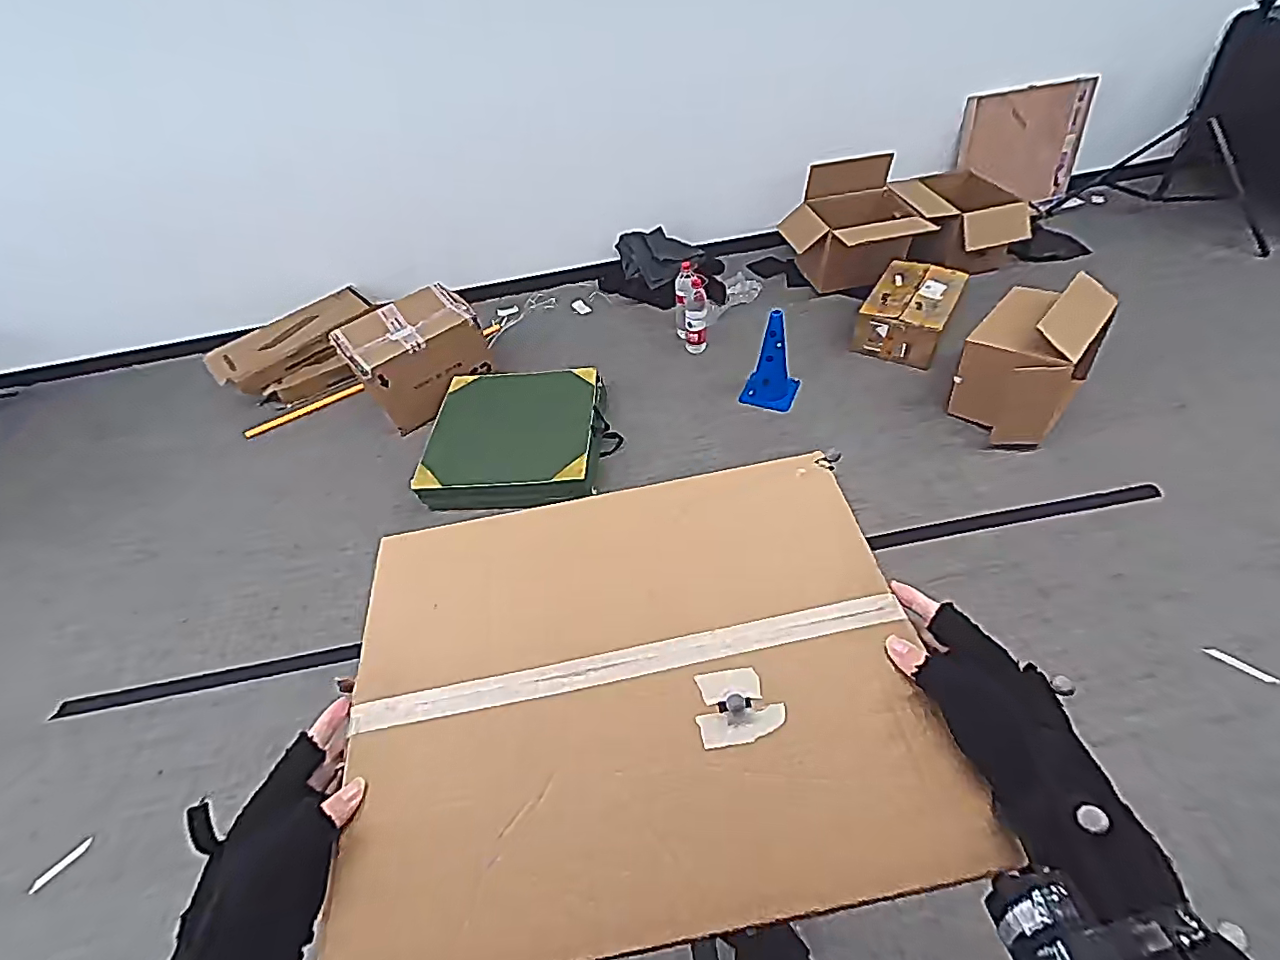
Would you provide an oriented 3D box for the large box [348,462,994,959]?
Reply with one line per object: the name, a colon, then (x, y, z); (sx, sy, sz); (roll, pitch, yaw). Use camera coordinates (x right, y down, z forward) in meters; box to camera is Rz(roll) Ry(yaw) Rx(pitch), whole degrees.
large box: (0.010, 0.229, 0.526); (0.408, 0.320, 0.320); (-11, 53, -2)
